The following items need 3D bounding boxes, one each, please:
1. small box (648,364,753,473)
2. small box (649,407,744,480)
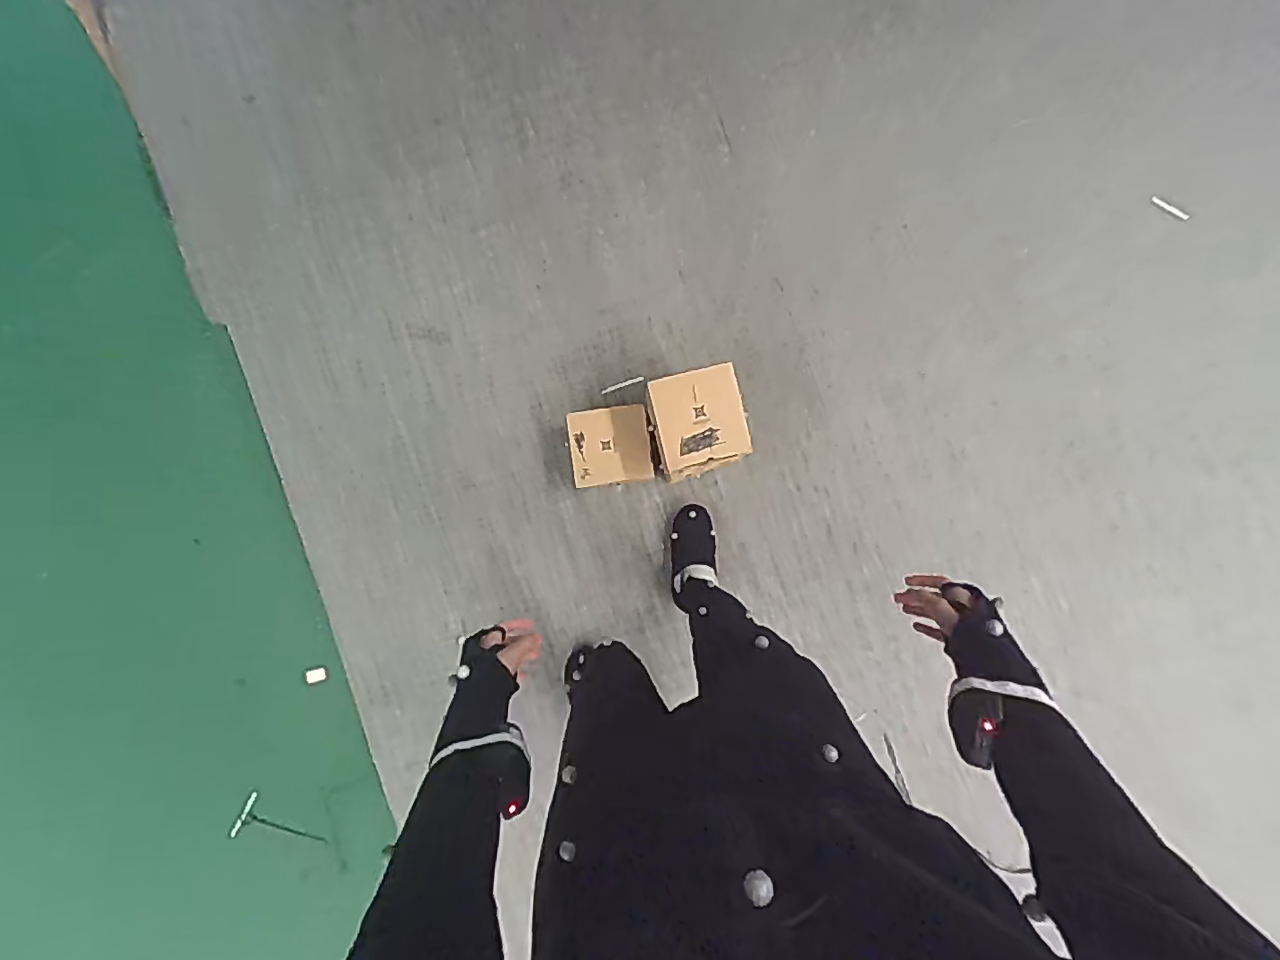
[{"bbox_3d":[0.115,-0.116,1.084,0.168,0.176,0.179,-14,90,0],"label":"small box"},{"bbox_3d":[0.122,-0.104,1.249,0.168,0.176,0.179,-19,90,0],"label":"small box"}]
